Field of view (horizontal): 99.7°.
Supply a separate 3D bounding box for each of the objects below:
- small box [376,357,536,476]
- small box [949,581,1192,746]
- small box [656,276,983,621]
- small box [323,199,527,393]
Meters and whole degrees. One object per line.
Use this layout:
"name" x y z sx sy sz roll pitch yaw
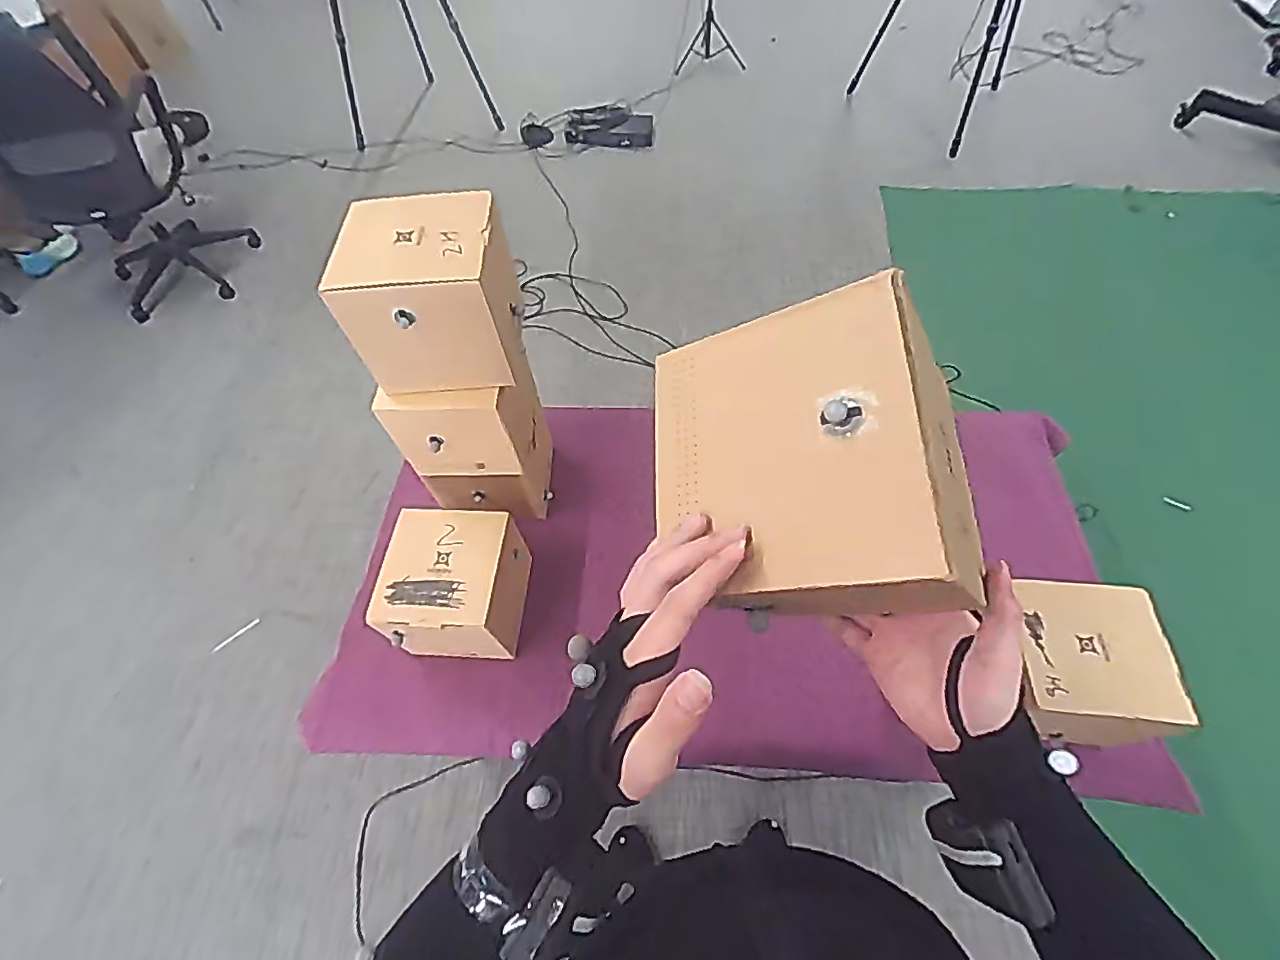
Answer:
"small box" -0.259 -0.116 0.809 0.168 0.176 0.179 -1 58 2
"small box" 0.556 0.253 0.730 0.179 0.176 0.168 5 57 6
"small box" 0.123 0.001 0.381 0.176 0.168 0.179 -12 67 34
"small box" -0.252 -0.225 0.683 0.179 0.176 0.168 -3 58 0
